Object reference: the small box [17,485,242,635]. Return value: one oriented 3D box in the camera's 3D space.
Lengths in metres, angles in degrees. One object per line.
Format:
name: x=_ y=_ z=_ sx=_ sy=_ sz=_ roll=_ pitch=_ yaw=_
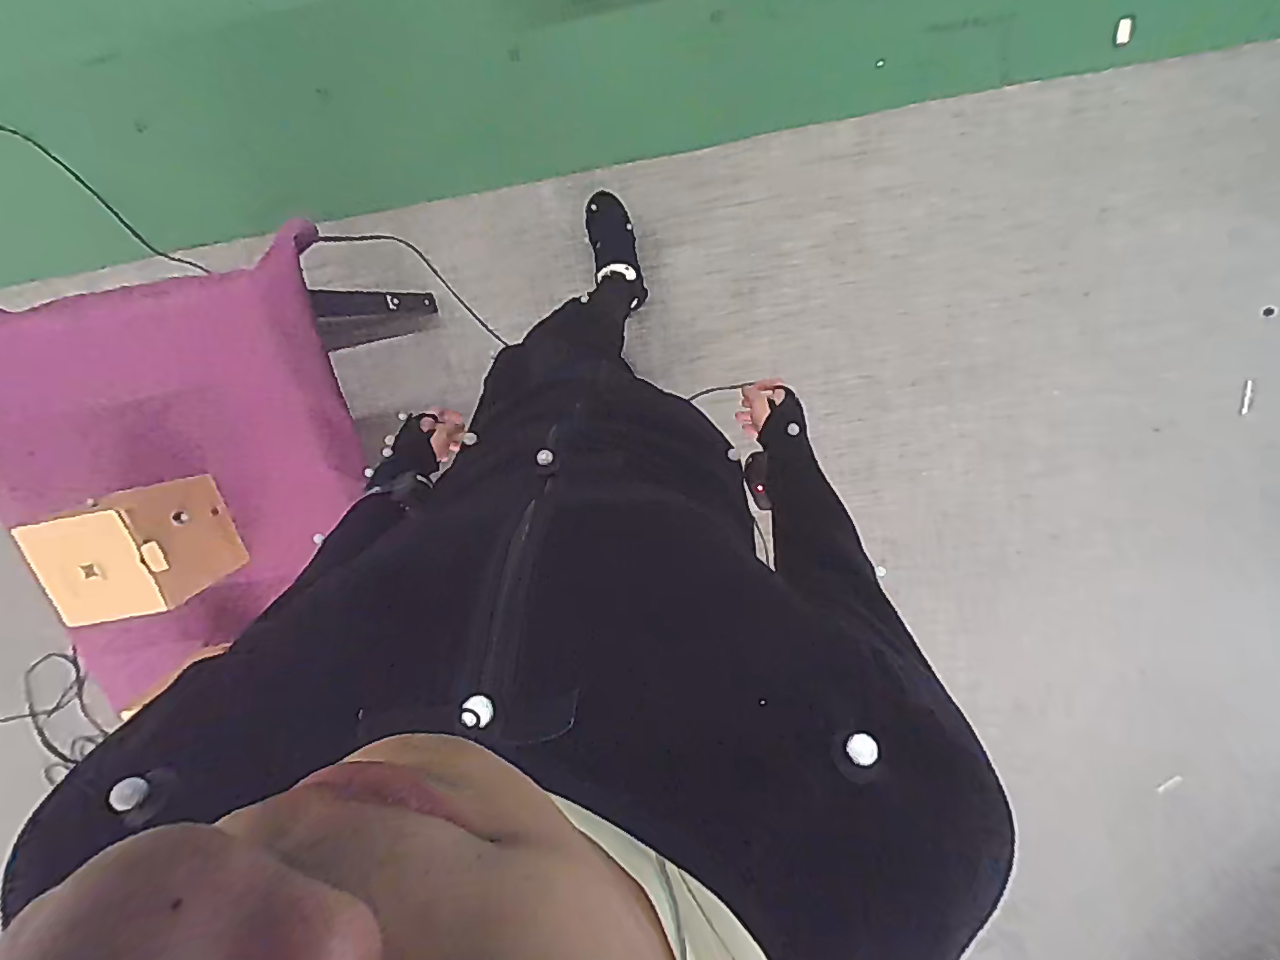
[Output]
small box: x=-0.781 y=0.118 z=0.857 sx=0.179 sy=0.176 sz=0.168 roll=-10 pitch=106 yaw=5
